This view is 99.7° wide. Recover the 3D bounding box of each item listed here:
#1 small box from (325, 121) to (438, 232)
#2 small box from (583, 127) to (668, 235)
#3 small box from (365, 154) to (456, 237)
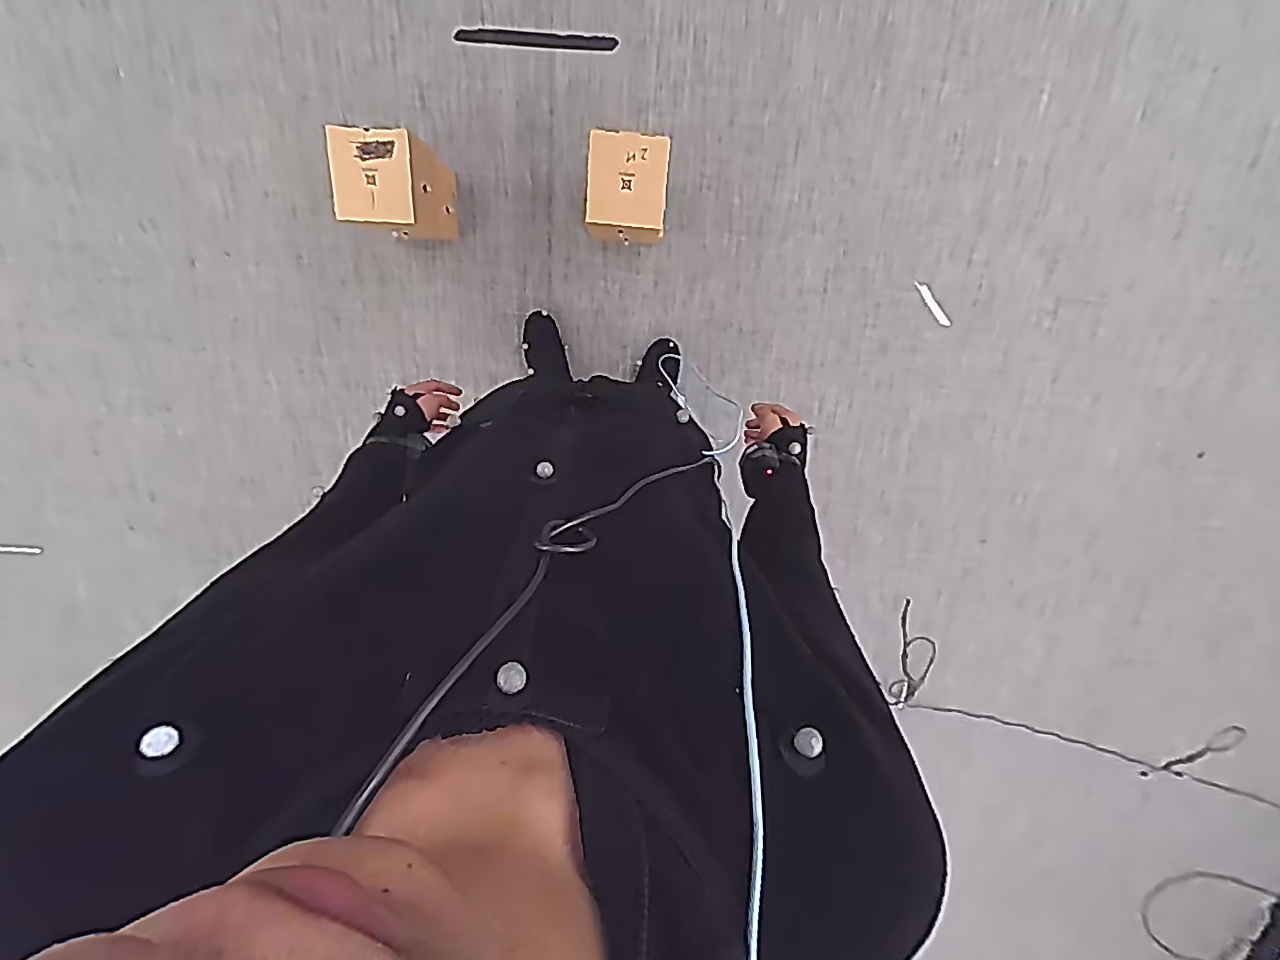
[{"bbox_3d":[-0.551,-0.650,1.175,0.168,0.176,0.179,2,109,-2],"label":"small box"},{"bbox_3d":[-0.033,-0.648,1.194,0.168,0.176,0.179,5,108,-4],"label":"small box"},{"bbox_3d":[-0.562,-0.699,1.332,0.179,0.176,0.168,2,108,-2],"label":"small box"}]
